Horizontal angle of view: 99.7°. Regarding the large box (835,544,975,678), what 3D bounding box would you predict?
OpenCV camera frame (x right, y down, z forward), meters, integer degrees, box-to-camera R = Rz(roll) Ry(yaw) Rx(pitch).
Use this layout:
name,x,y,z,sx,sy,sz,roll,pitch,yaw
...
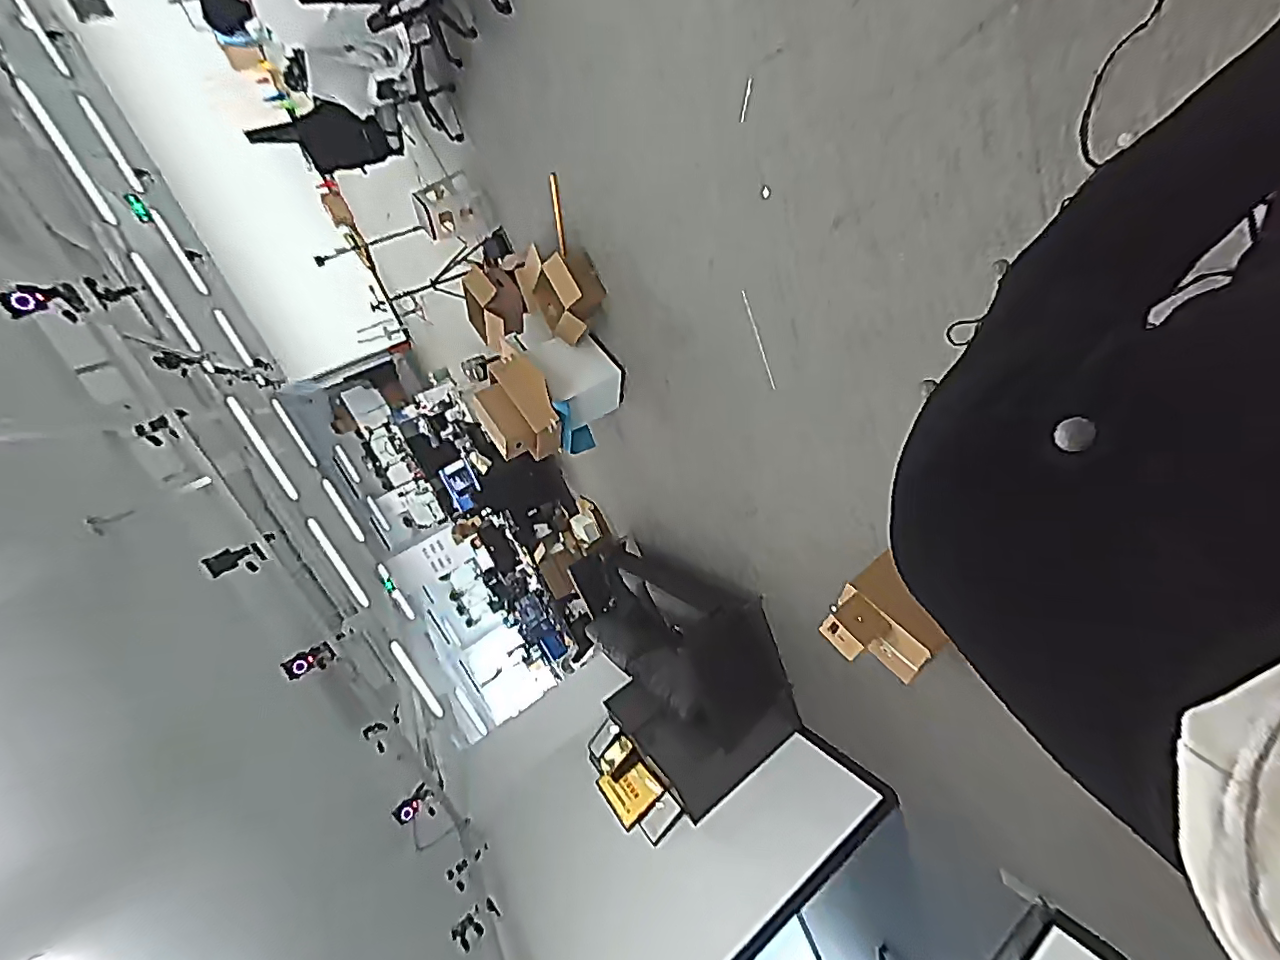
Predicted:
name,x,y,z,sx,sy,sz,roll,pitch,yaw
large box,1.129,0.559,2.343,0.408,0.320,0.320,43,155,34
